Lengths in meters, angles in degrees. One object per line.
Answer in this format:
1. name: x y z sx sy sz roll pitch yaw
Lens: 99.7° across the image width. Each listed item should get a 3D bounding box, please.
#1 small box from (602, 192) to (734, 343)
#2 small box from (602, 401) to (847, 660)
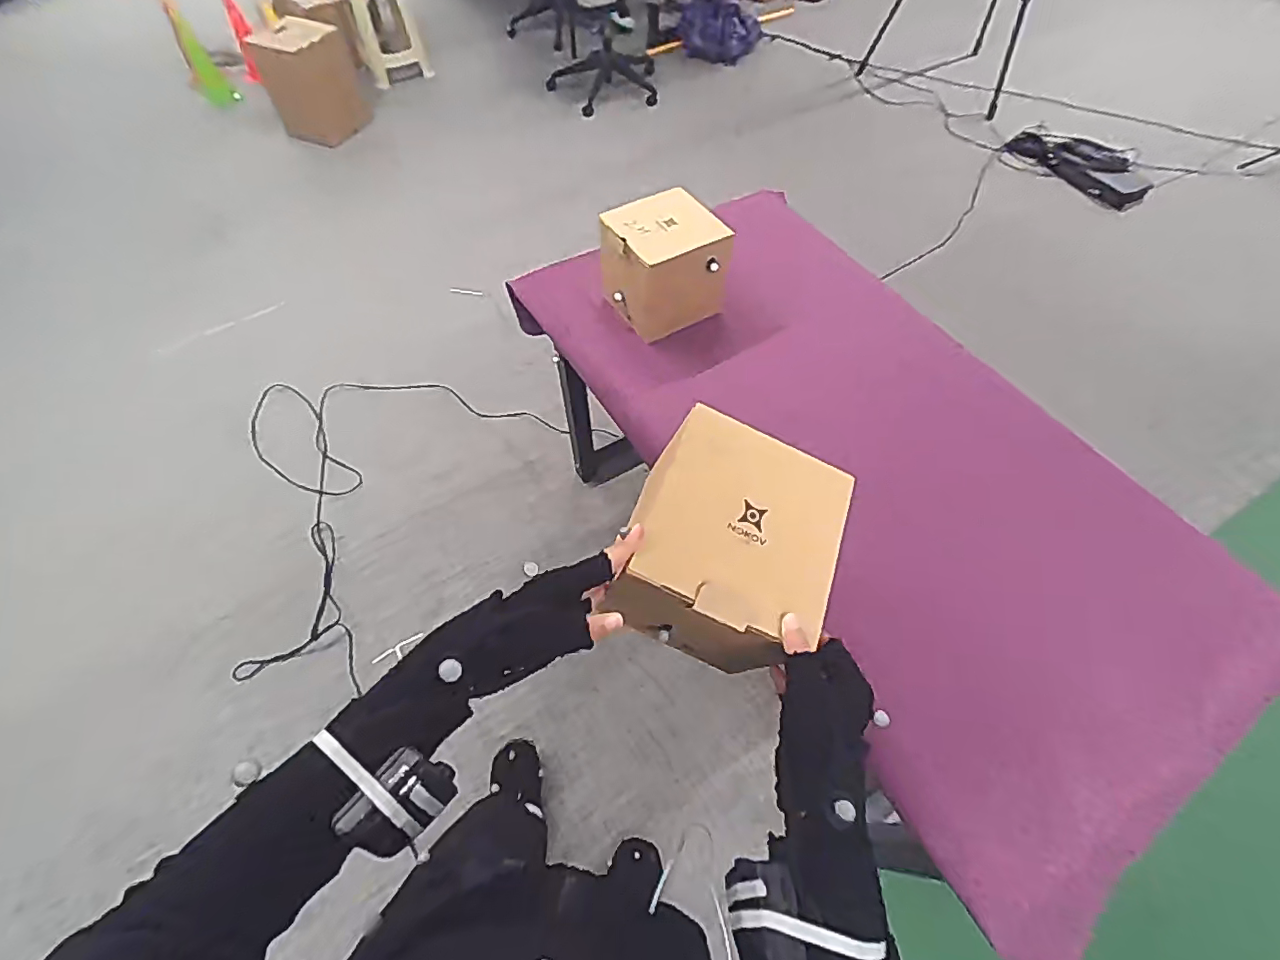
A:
1. small box: 0.044 -0.387 0.994 0.179 0.176 0.168 -28 62 -17
2. small box: 0.074 0.060 0.538 0.168 0.176 0.179 25 64 -2
